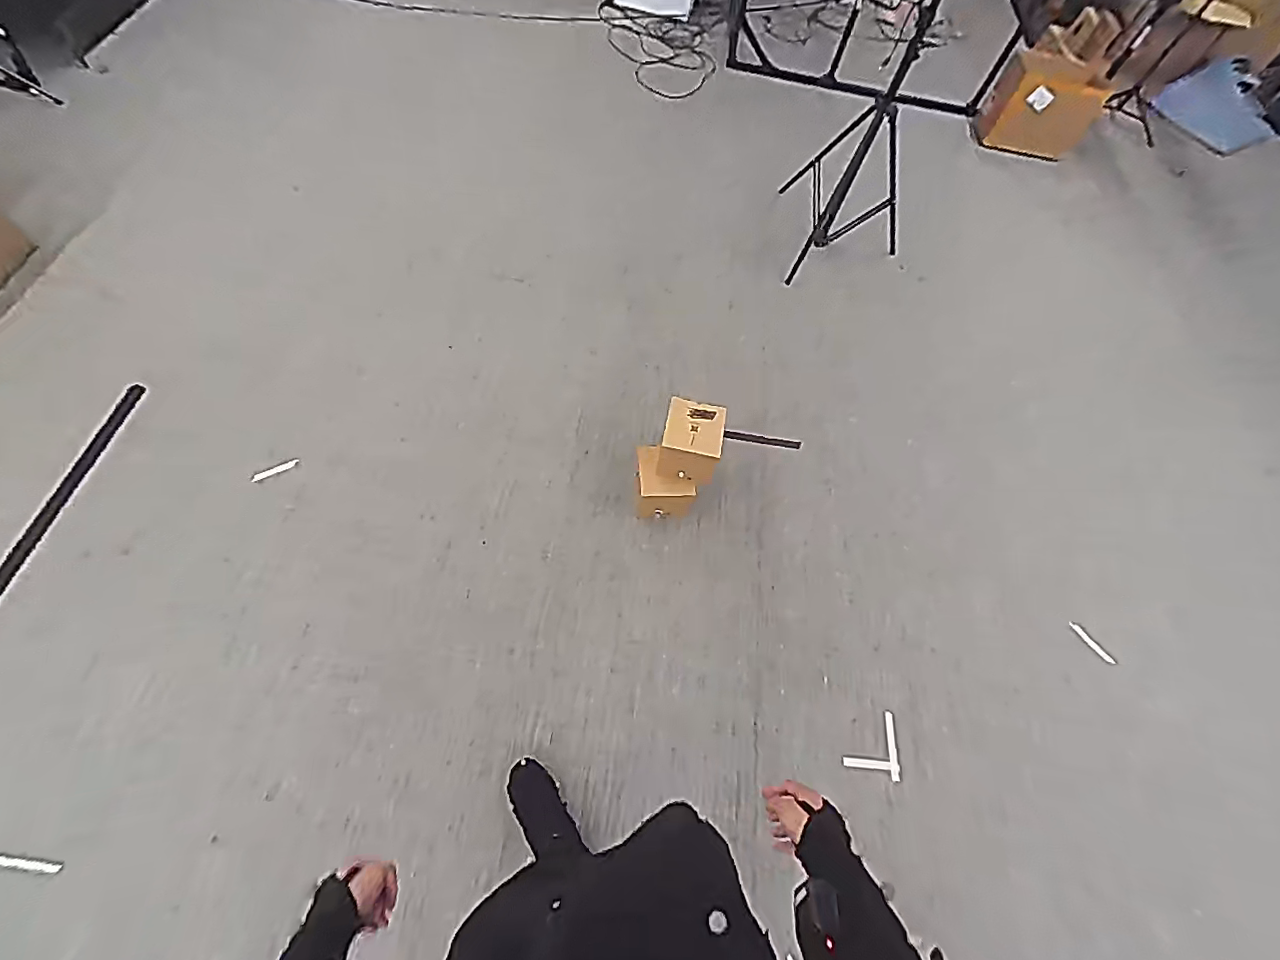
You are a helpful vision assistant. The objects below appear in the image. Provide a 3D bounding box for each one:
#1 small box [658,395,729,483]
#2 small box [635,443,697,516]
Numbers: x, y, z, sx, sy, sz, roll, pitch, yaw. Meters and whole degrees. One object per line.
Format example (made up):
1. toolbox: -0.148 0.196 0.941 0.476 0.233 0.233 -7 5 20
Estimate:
1. small box: 0.153 -0.117 1.580 0.168 0.176 0.179 12 62 1
2. small box: 0.077 0.001 1.694 0.168 0.176 0.179 -1 63 -7
